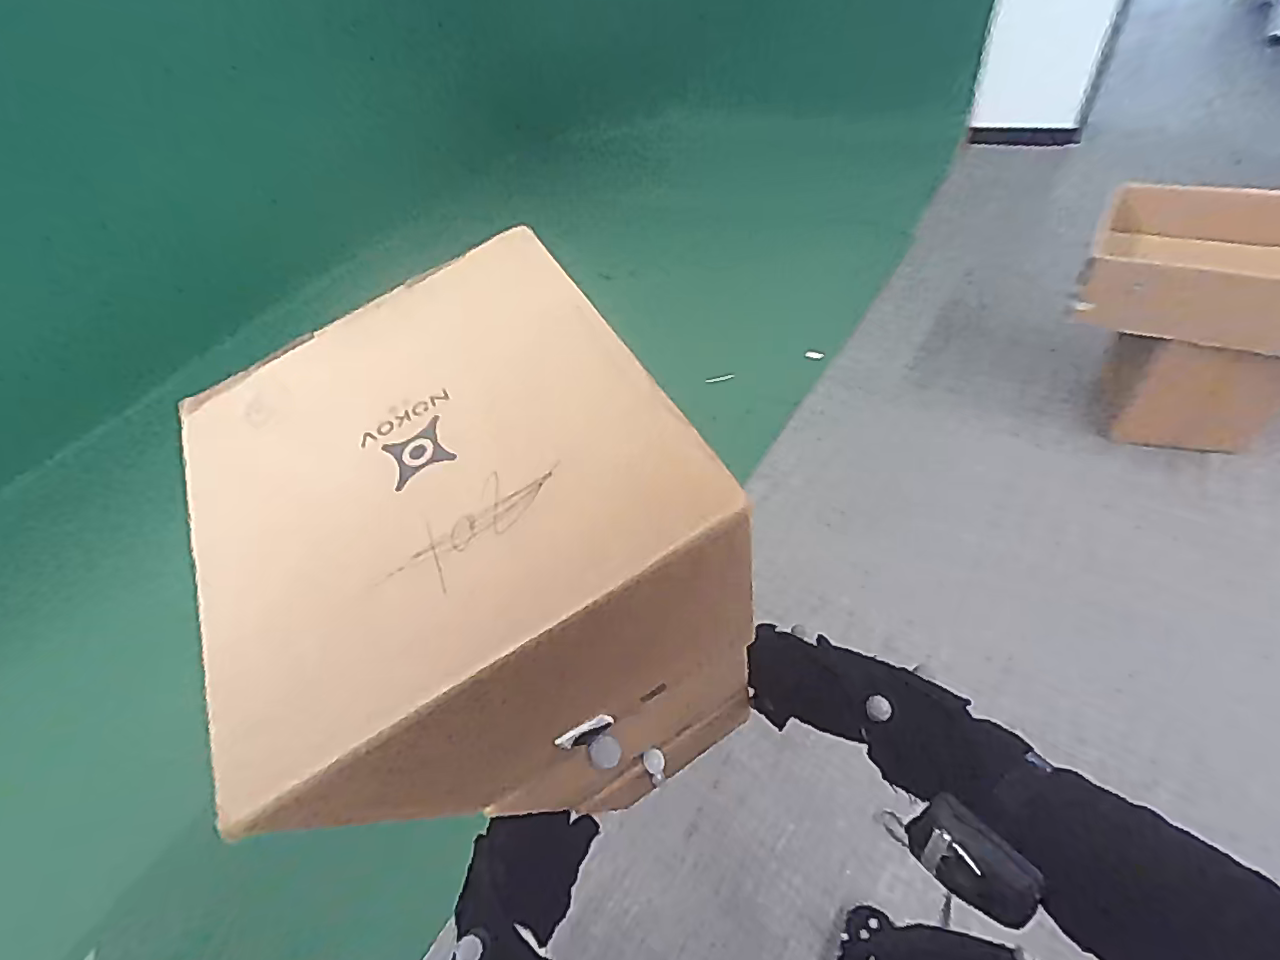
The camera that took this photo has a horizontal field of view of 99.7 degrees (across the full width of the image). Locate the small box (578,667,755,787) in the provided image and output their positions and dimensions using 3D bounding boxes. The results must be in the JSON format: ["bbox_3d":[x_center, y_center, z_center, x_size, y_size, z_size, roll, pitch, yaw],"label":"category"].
[{"bbox_3d":[-0.001,0.184,0.546,0.168,0.176,0.179,-32,59,-7],"label":"small box"}]

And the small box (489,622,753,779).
[{"bbox_3d":[-0.033,0.100,0.408,0.168,0.176,0.179,-31,59,-6],"label":"small box"}]
